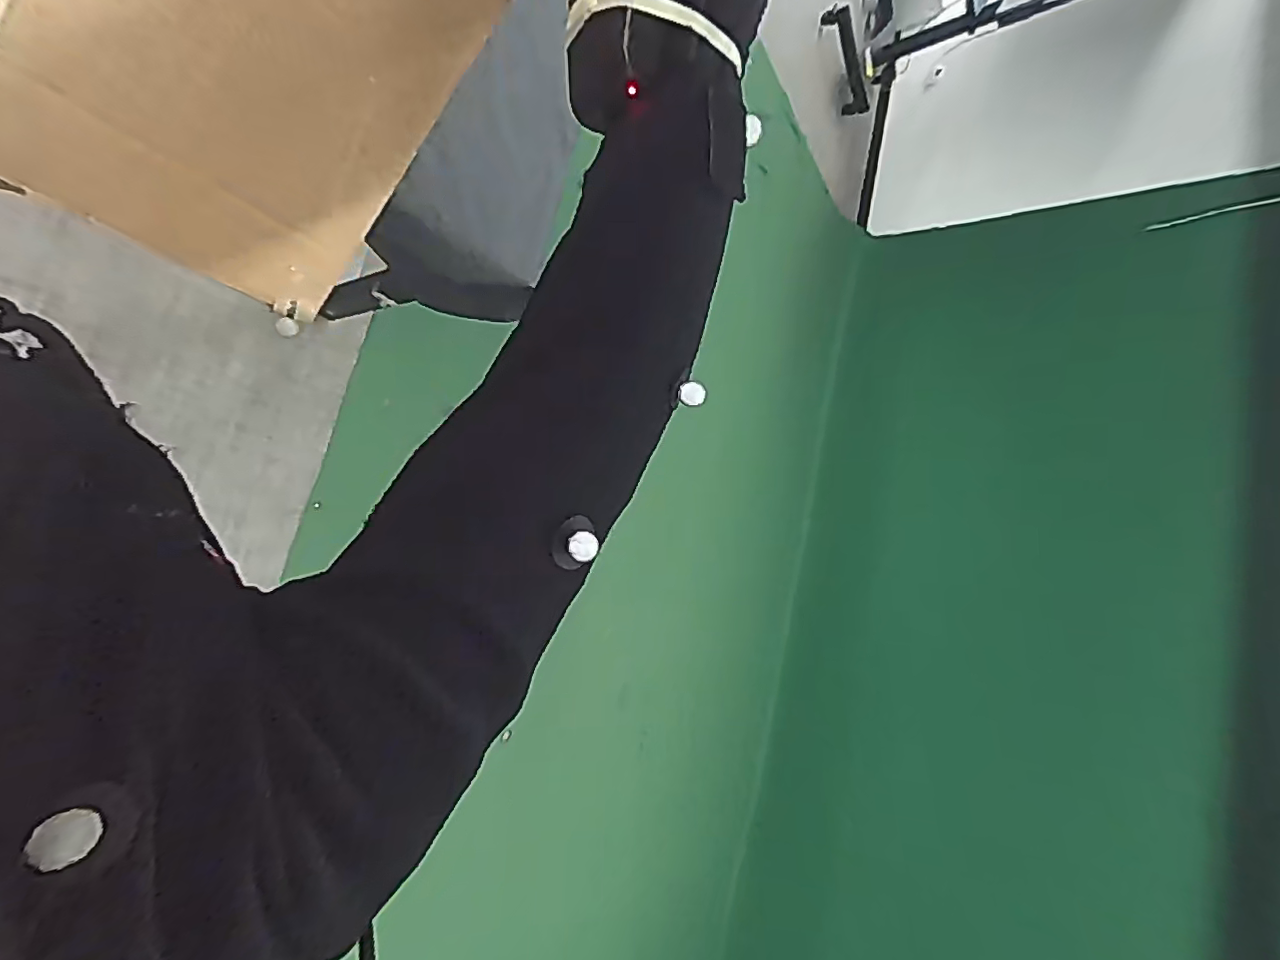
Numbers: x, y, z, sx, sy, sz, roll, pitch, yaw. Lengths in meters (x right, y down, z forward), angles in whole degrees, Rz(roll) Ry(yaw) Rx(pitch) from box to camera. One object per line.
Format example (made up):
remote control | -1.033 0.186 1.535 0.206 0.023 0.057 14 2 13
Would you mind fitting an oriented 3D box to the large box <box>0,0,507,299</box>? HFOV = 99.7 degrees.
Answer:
large box | -0.248 -0.397 0.285 0.408 0.320 0.320 -48 141 15
